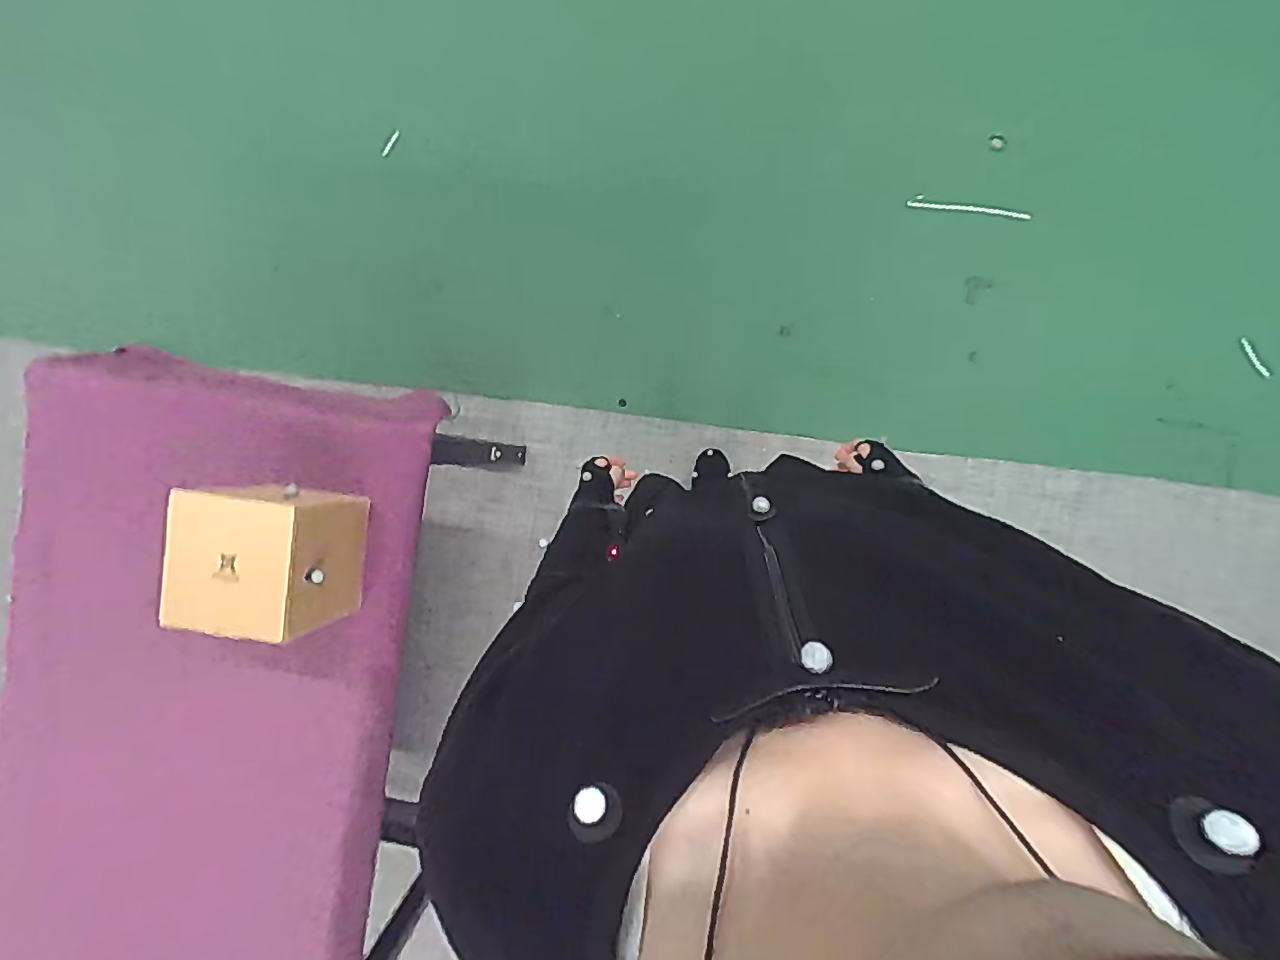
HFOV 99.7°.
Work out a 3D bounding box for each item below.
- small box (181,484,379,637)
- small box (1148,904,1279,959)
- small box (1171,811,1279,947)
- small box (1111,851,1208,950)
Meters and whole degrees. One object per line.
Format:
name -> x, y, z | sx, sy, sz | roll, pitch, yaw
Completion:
small box -> -0.495, 0.101, 0.767 | 0.168, 0.176, 0.179 | 7, 94, 4
small box -> 1.241, 1.045, 1.141 | 0.179, 0.176, 0.168 | 3, 91, 6
small box -> 1.275, 0.828, 1.131 | 0.179, 0.176, 0.168 | 1, 94, 8
small box -> 1.283, 1.034, 1.301 | 0.168, 0.176, 0.179 | -1, 91, 7
